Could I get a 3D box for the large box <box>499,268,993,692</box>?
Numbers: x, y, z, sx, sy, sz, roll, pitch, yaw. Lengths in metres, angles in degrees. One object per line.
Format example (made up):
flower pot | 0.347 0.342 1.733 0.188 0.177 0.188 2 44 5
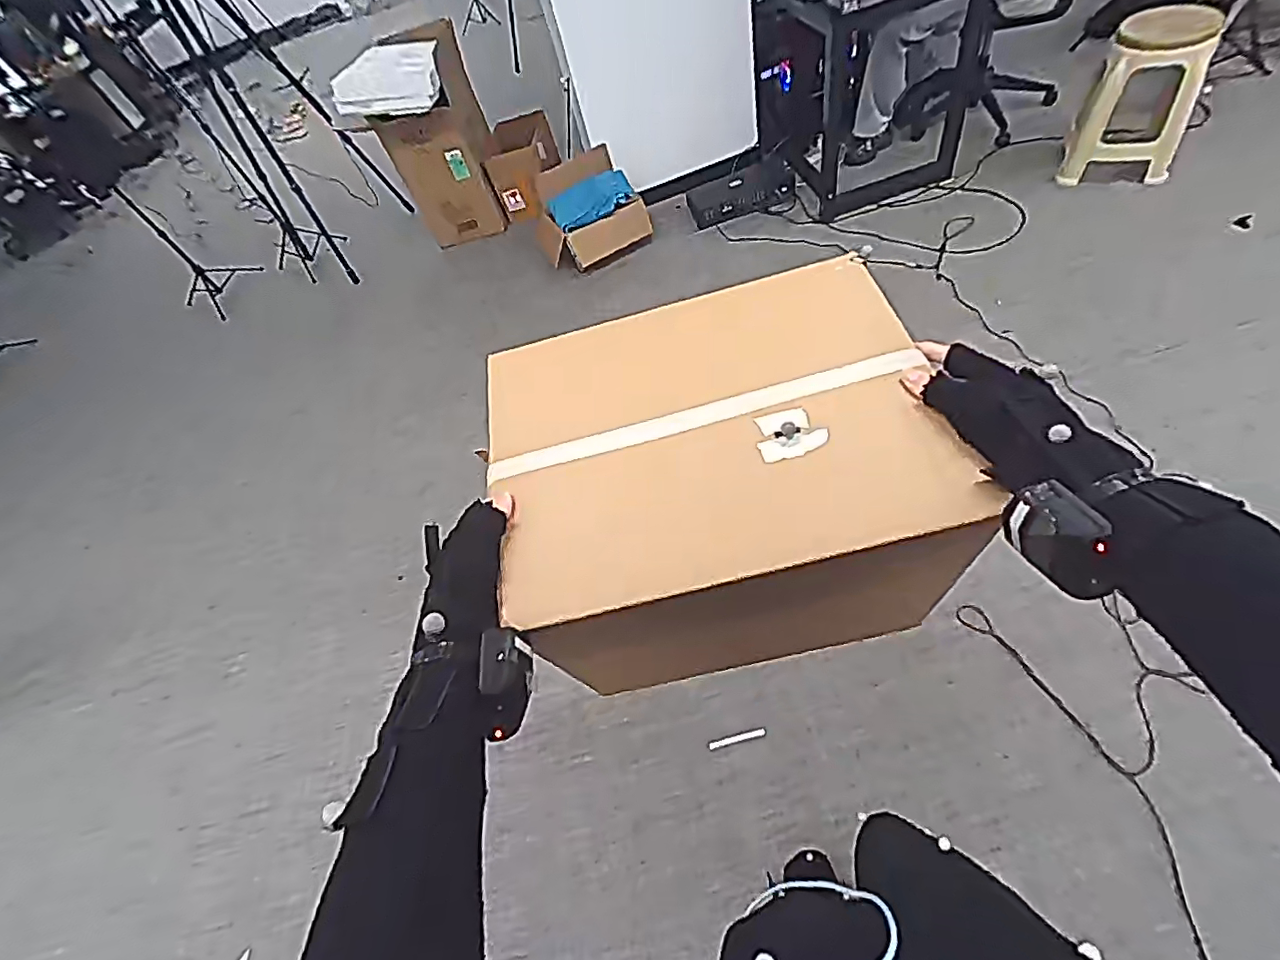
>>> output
large box | 0.087 0.022 0.638 0.408 0.320 0.320 -15 58 3
